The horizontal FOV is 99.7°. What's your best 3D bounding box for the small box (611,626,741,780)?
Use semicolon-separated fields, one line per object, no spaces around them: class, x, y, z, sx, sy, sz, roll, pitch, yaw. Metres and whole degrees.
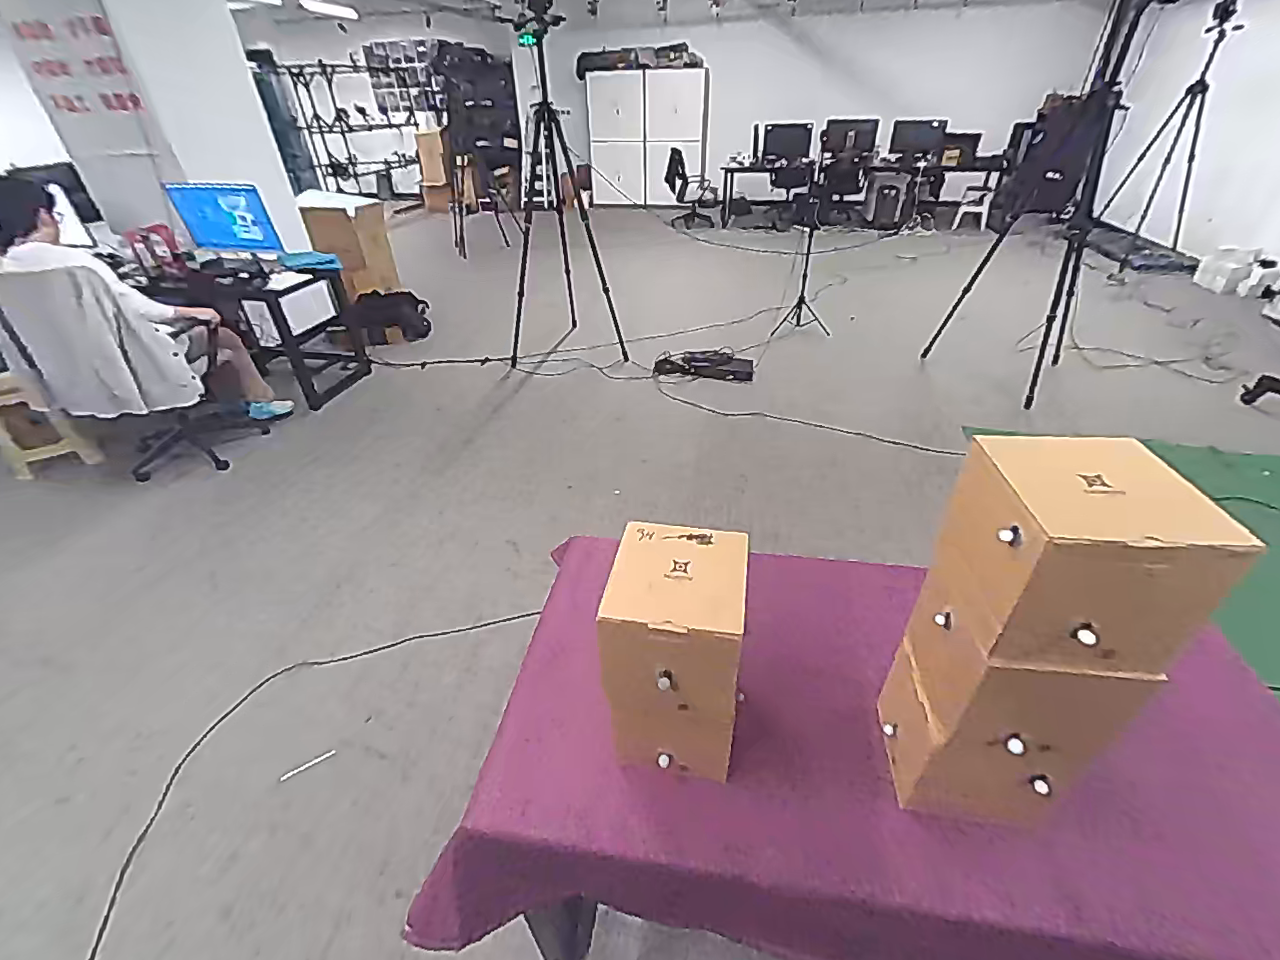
small box;0.058;0.311;0.810;0.168;0.176;0.179;5;37;10

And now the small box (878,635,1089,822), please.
small box;0.451;0.341;0.745;0.179;0.176;0.168;4;35;9

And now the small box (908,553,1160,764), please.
small box;0.445;0.207;0.653;0.168;0.176;0.179;3;36;8

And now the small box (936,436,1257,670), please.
small box;0.438;0.071;0.565;0.168;0.176;0.179;1;36;6

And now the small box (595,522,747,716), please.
small box;0.048;0.181;0.710;0.168;0.176;0.179;5;37;10
